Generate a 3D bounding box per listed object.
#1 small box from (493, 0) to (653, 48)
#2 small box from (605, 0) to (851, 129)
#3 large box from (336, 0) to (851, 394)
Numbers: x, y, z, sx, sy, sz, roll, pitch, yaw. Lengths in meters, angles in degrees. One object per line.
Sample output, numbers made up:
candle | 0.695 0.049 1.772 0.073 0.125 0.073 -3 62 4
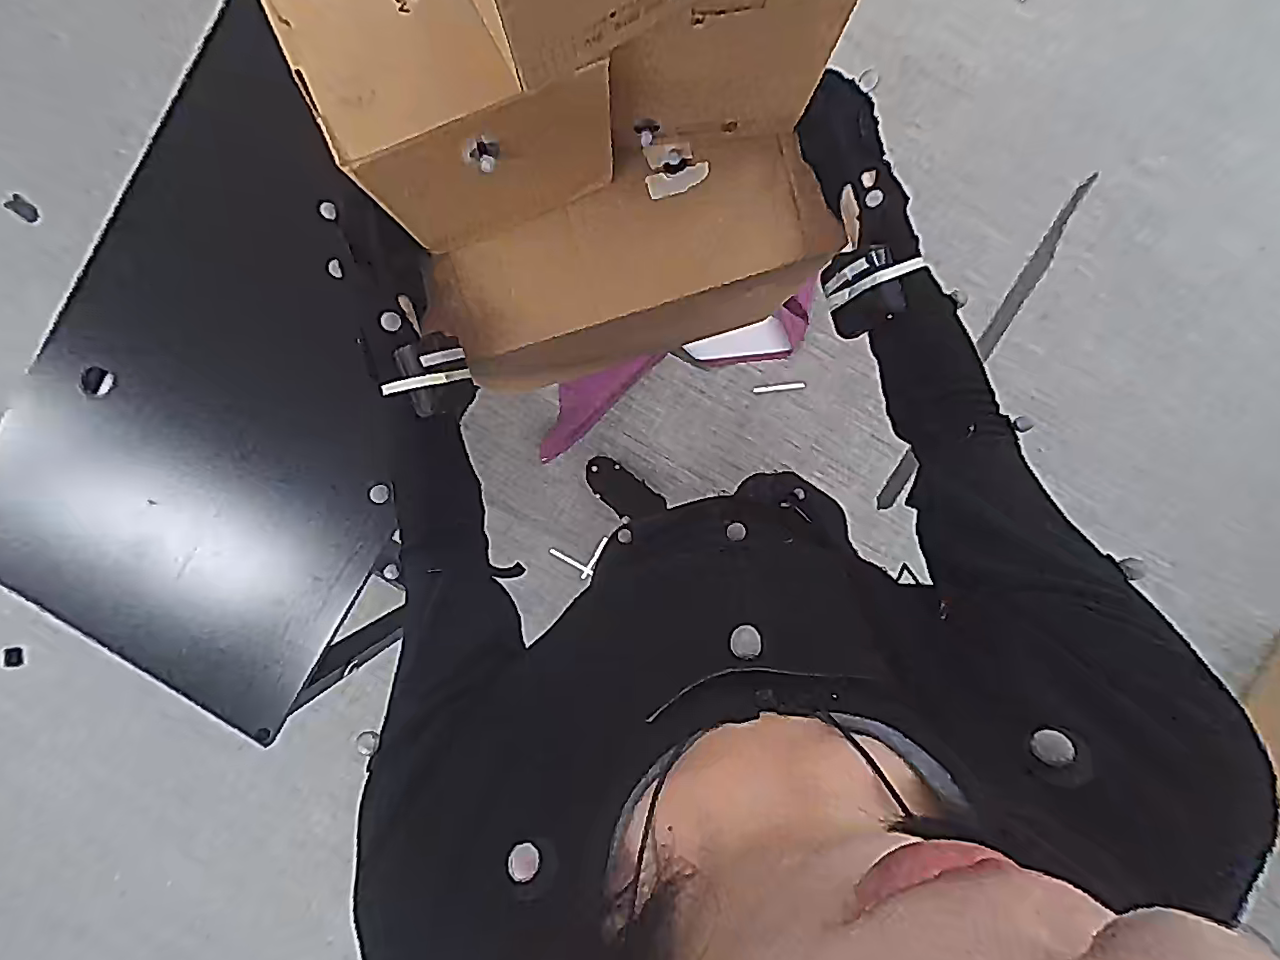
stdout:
small box | -0.028 -0.336 0.225 0.168 0.176 0.179 -29 95 1
small box | 0.054 -0.382 0.386 0.168 0.176 0.179 -5 93 0
large box | -0.042 -0.319 0.634 0.408 0.320 0.320 -18 95 -1
